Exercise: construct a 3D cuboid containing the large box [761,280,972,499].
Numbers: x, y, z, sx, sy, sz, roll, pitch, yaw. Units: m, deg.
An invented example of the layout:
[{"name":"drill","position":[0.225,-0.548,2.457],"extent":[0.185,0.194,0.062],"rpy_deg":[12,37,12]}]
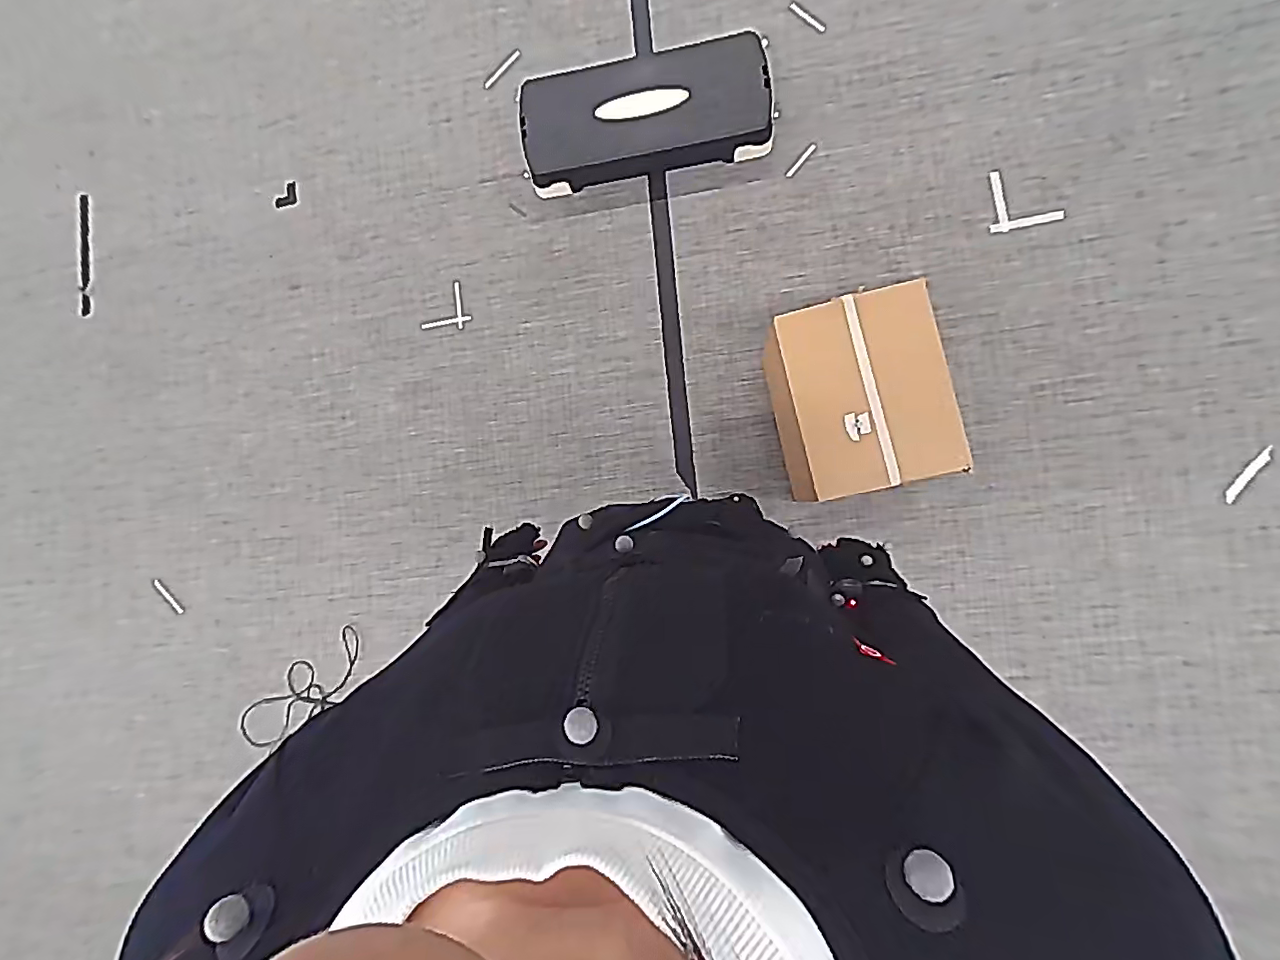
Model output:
[{"name":"large box","position":[0.493,-0.184,1.263],"extent":[0.320,0.320,0.408],"rpy_deg":[-13,87,7]}]
